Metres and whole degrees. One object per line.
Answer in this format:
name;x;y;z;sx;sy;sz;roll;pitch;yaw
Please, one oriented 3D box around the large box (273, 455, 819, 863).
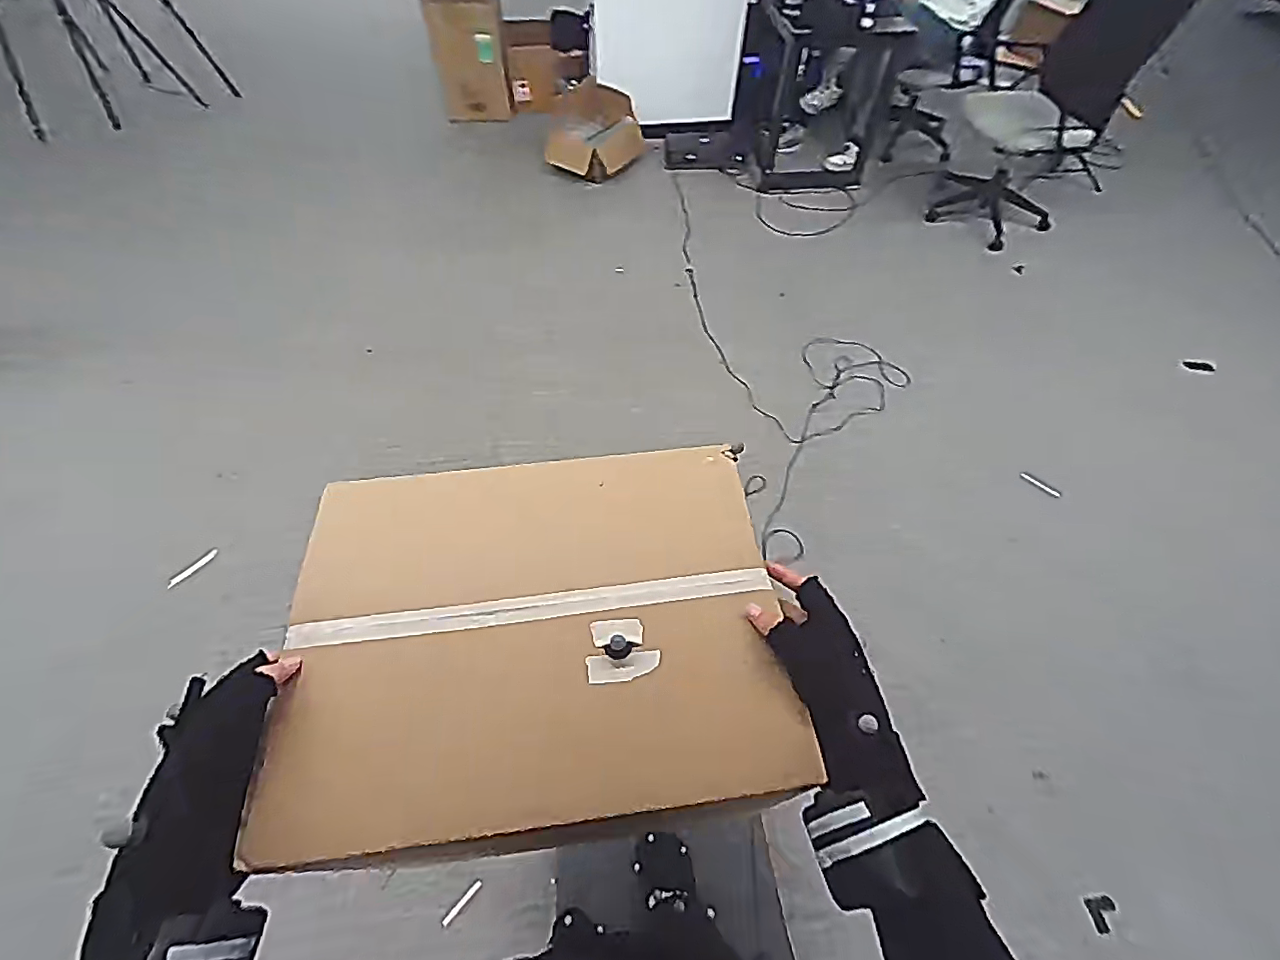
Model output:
large box;-0.081;0.202;0.595;0.408;0.320;0.320;-5;55;-4
